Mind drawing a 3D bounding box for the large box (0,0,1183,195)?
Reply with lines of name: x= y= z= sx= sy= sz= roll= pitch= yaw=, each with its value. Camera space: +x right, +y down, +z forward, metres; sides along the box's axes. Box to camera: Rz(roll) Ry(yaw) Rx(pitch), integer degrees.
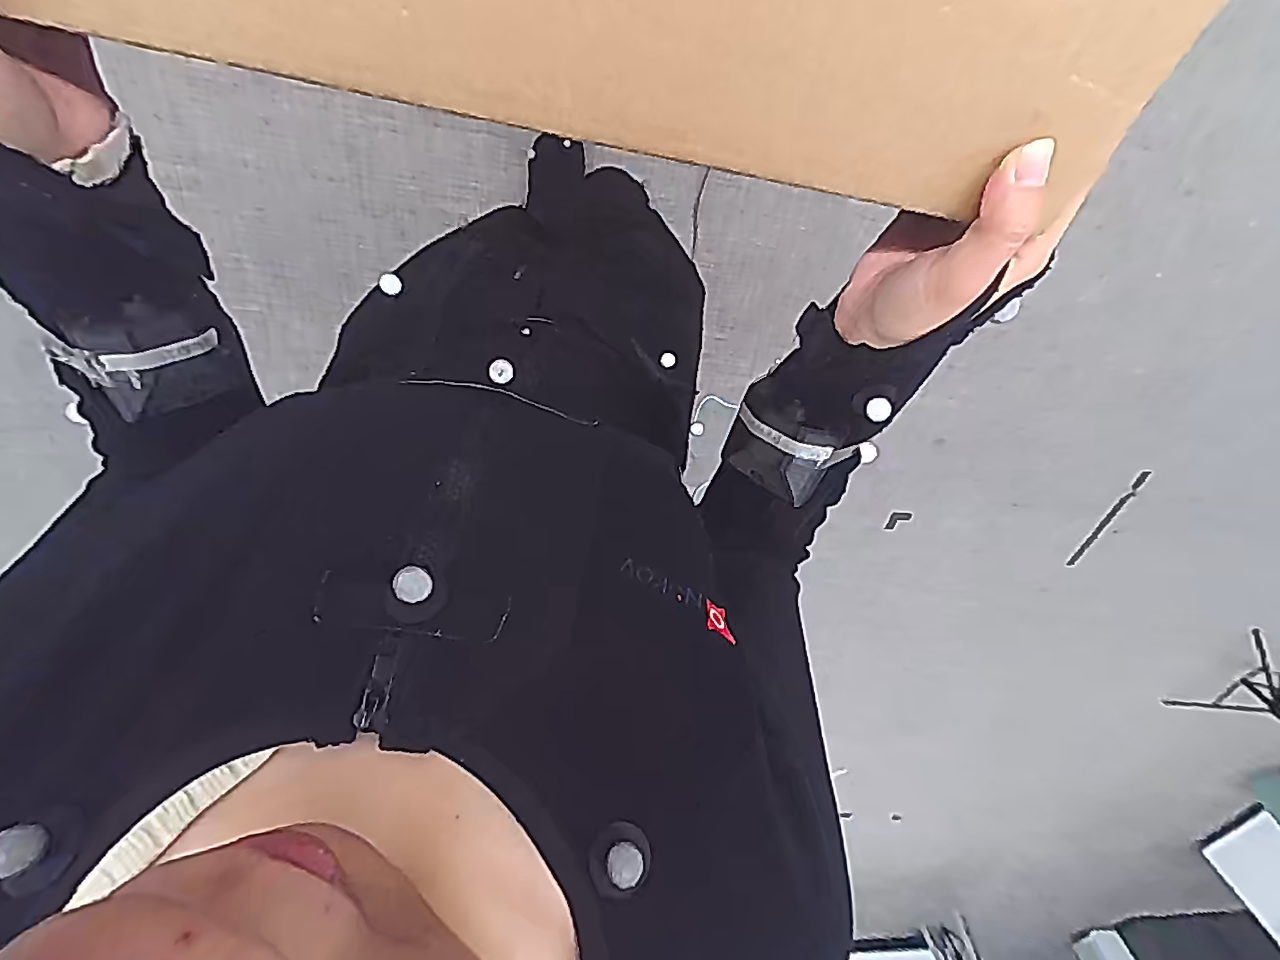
large box: x=-0.007 y=-0.346 z=0.183 sx=0.408 sy=0.320 sz=0.320 roll=6 pitch=139 yaw=-8
